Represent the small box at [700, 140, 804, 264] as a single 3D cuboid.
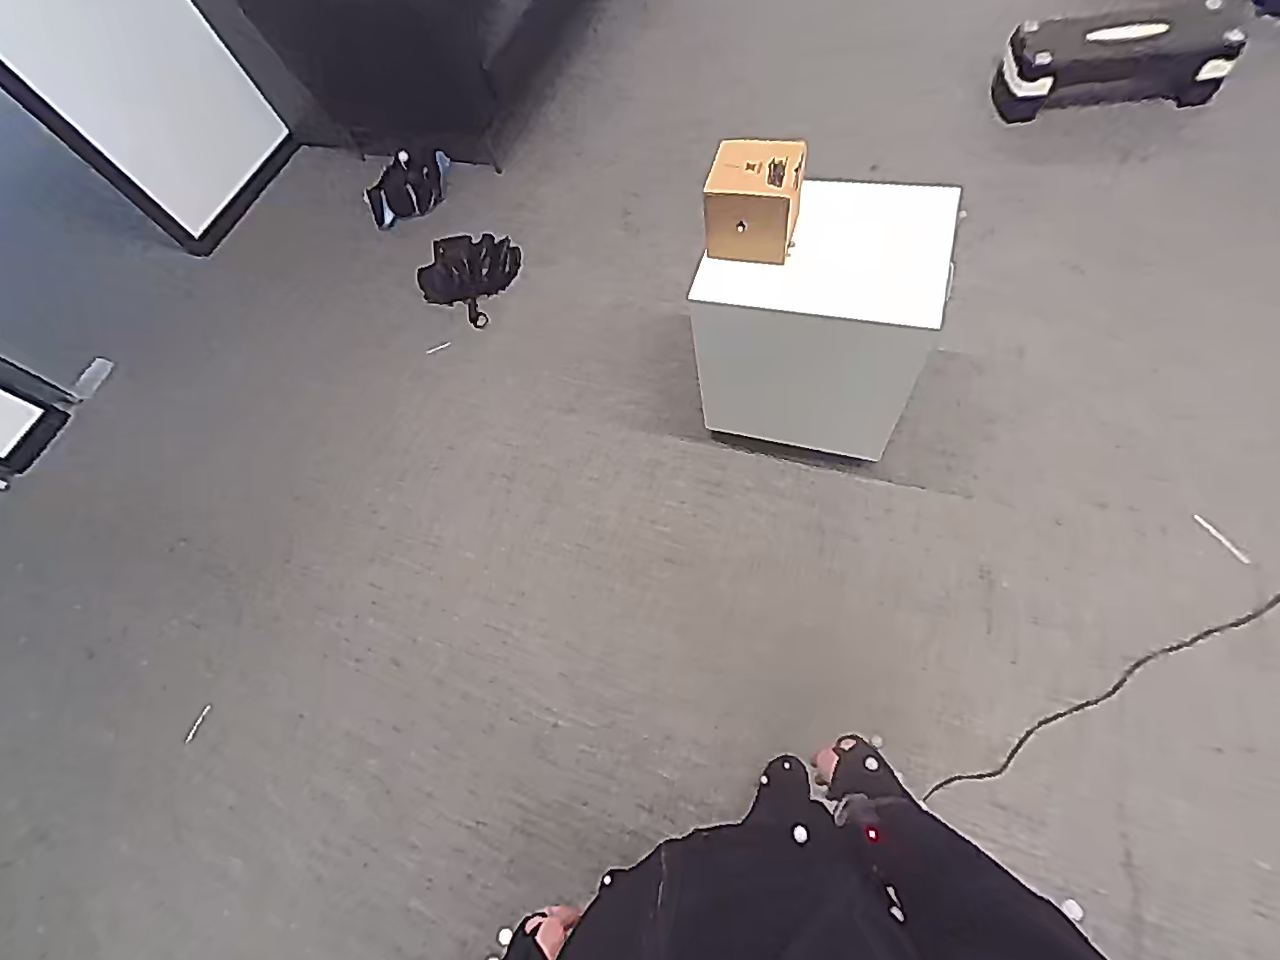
[{"bbox_3d":[0.239,-0.587,1.153,0.179,0.176,0.168,12,67,17],"label":"small box"}]
